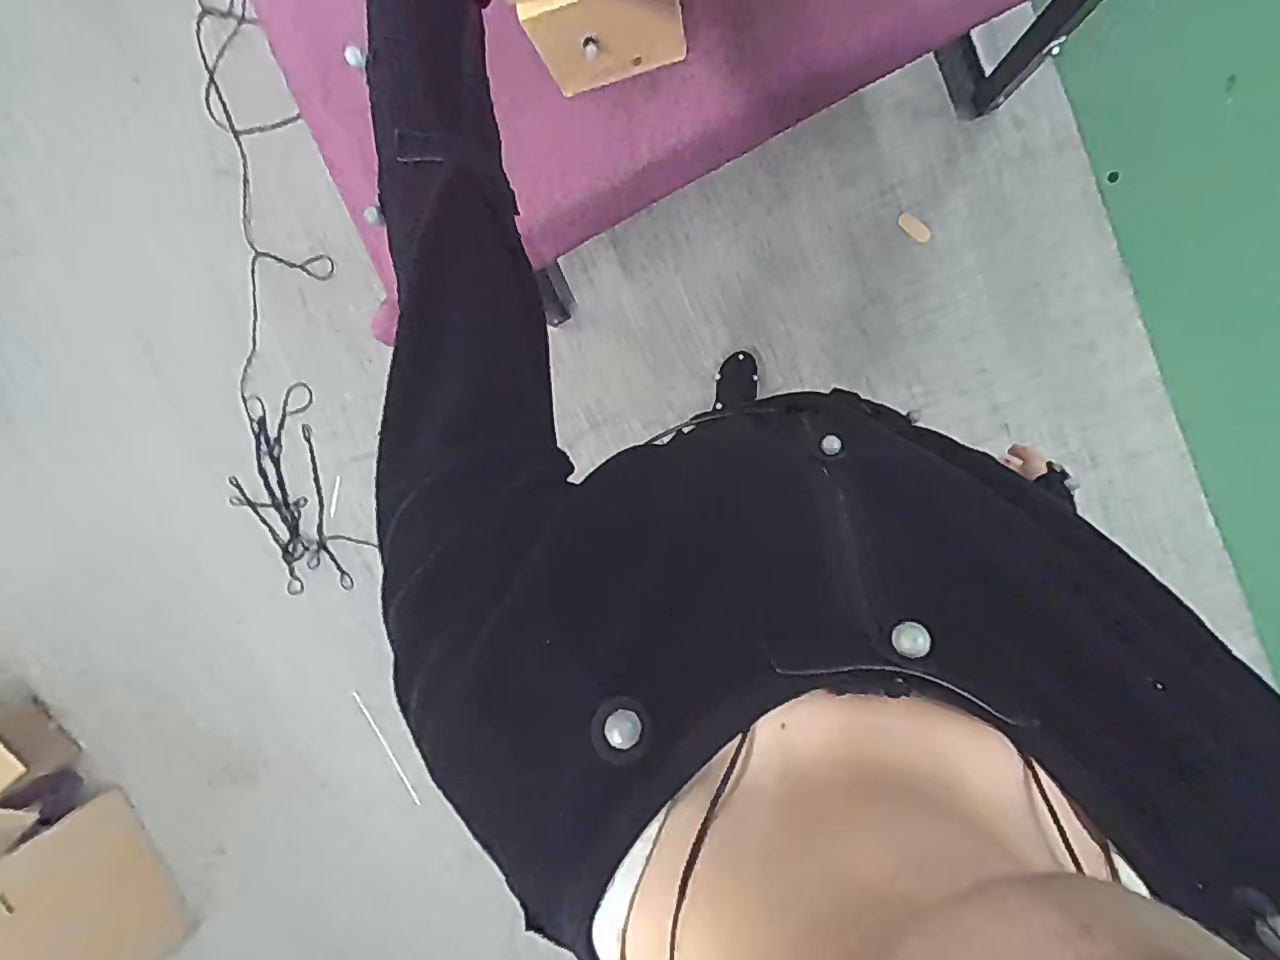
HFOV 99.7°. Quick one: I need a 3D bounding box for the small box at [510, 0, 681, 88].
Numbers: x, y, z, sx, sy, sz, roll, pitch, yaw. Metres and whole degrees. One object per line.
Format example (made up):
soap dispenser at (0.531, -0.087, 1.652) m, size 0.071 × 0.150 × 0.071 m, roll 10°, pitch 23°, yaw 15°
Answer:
small box at (-0.053, -0.585, 0.612) m, size 0.168 × 0.176 × 0.179 m, roll -10°, pitch 98°, yaw 12°
